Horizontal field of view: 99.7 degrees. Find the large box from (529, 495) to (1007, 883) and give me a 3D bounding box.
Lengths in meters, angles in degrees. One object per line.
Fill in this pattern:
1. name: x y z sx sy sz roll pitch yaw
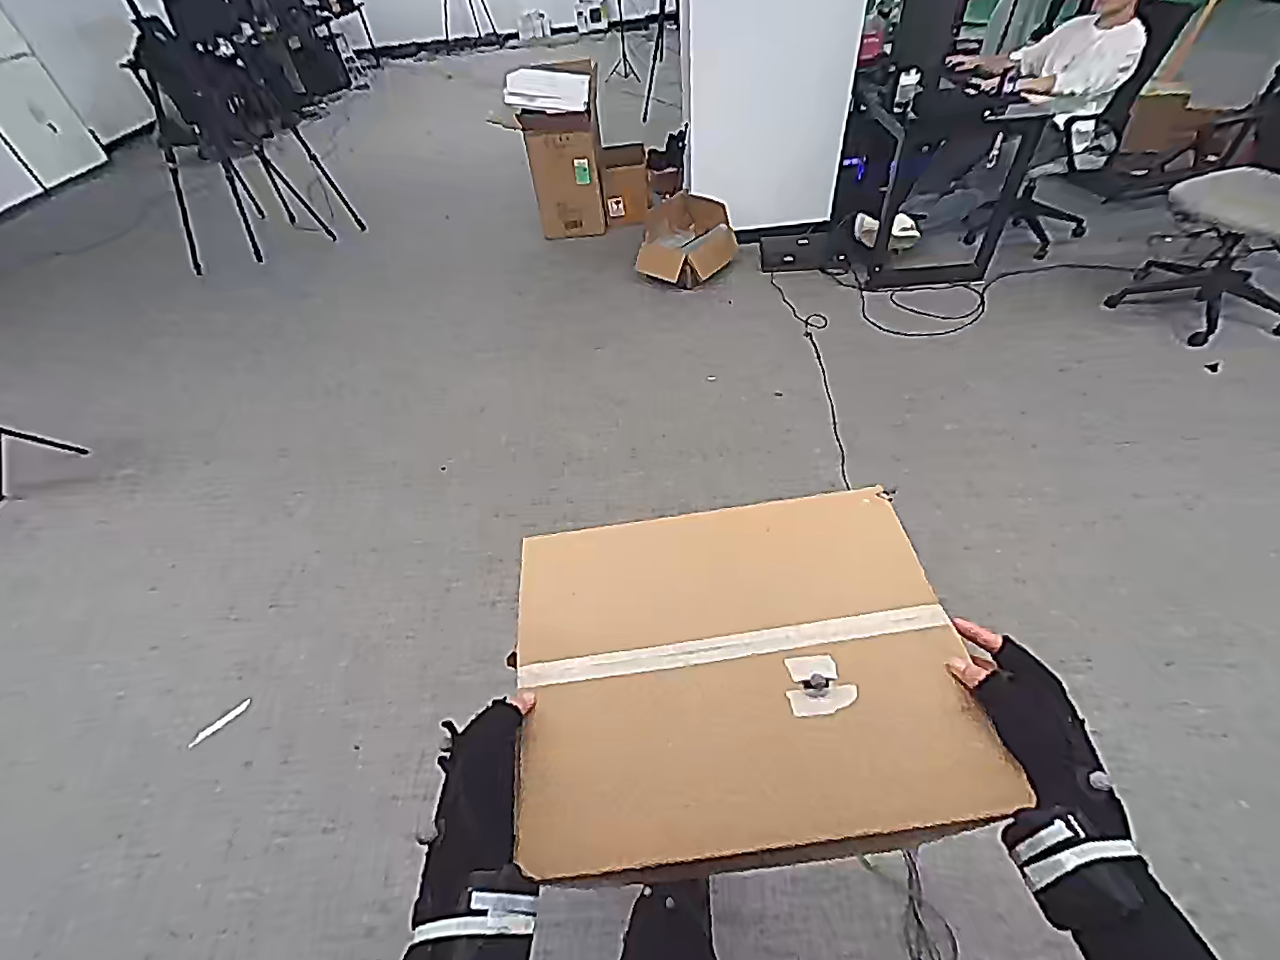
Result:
1. large box: 0.100 0.257 0.644 0.408 0.320 0.320 -8 52 0
